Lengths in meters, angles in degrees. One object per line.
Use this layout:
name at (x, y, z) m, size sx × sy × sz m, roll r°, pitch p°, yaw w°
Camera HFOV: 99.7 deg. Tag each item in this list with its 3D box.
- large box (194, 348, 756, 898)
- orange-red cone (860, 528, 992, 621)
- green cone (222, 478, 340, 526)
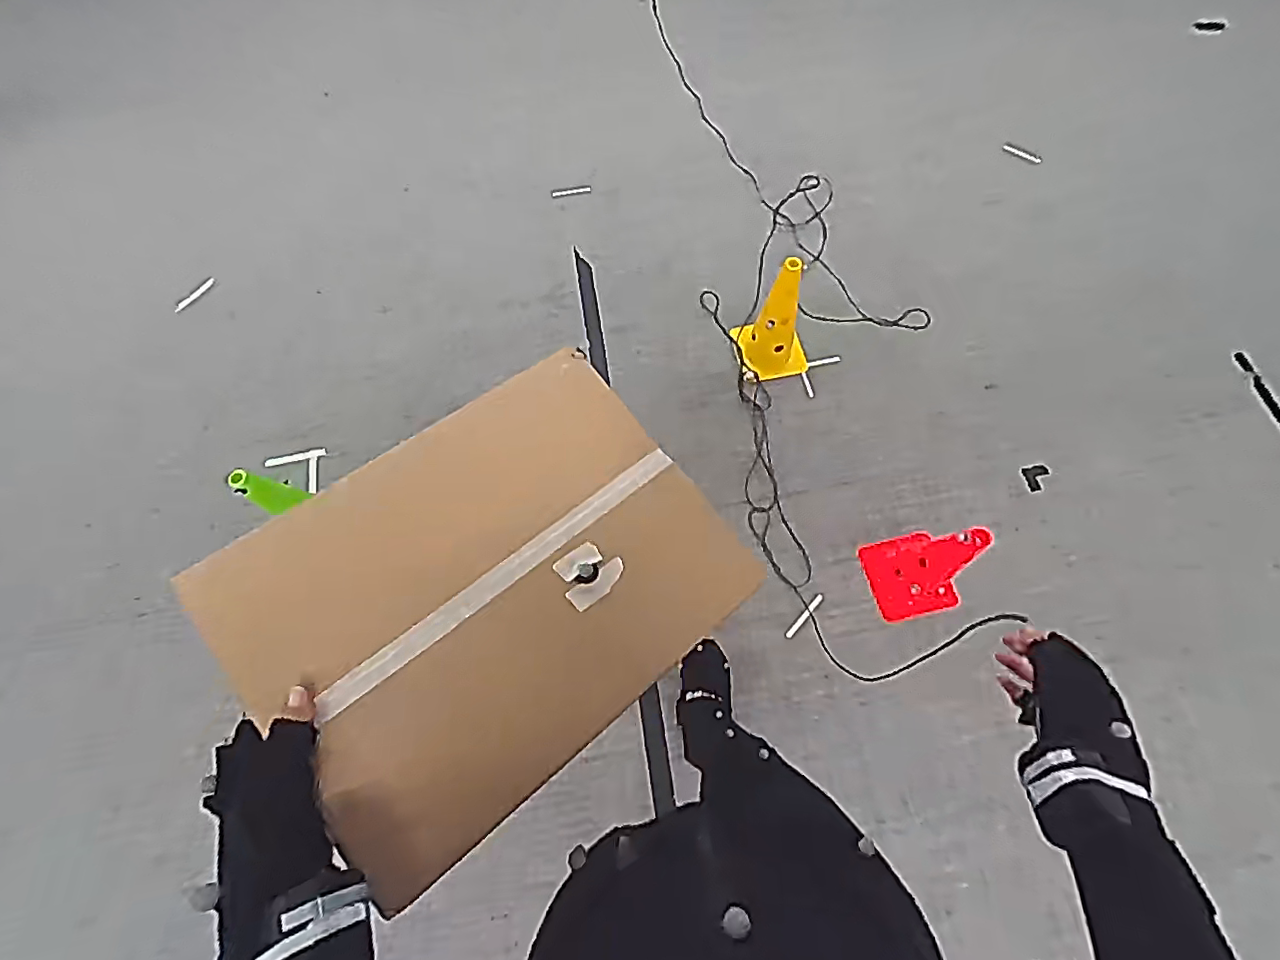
large box at (-0.151, 0.135, 0.624) m, size 0.408 × 0.320 × 0.320 m, roll -37°, pitch 81°, yaw -19°
orange-red cone at (0.669, 0.177, 1.208) m, size 0.198 × 0.360 × 0.199 m, roll -12°, pitch 66°, yaw -3°
green cone at (-0.861, 0.072, 1.324) m, size 0.200 × 0.368 × 0.202 m, roll 40°, pitch 76°, yaw 17°
